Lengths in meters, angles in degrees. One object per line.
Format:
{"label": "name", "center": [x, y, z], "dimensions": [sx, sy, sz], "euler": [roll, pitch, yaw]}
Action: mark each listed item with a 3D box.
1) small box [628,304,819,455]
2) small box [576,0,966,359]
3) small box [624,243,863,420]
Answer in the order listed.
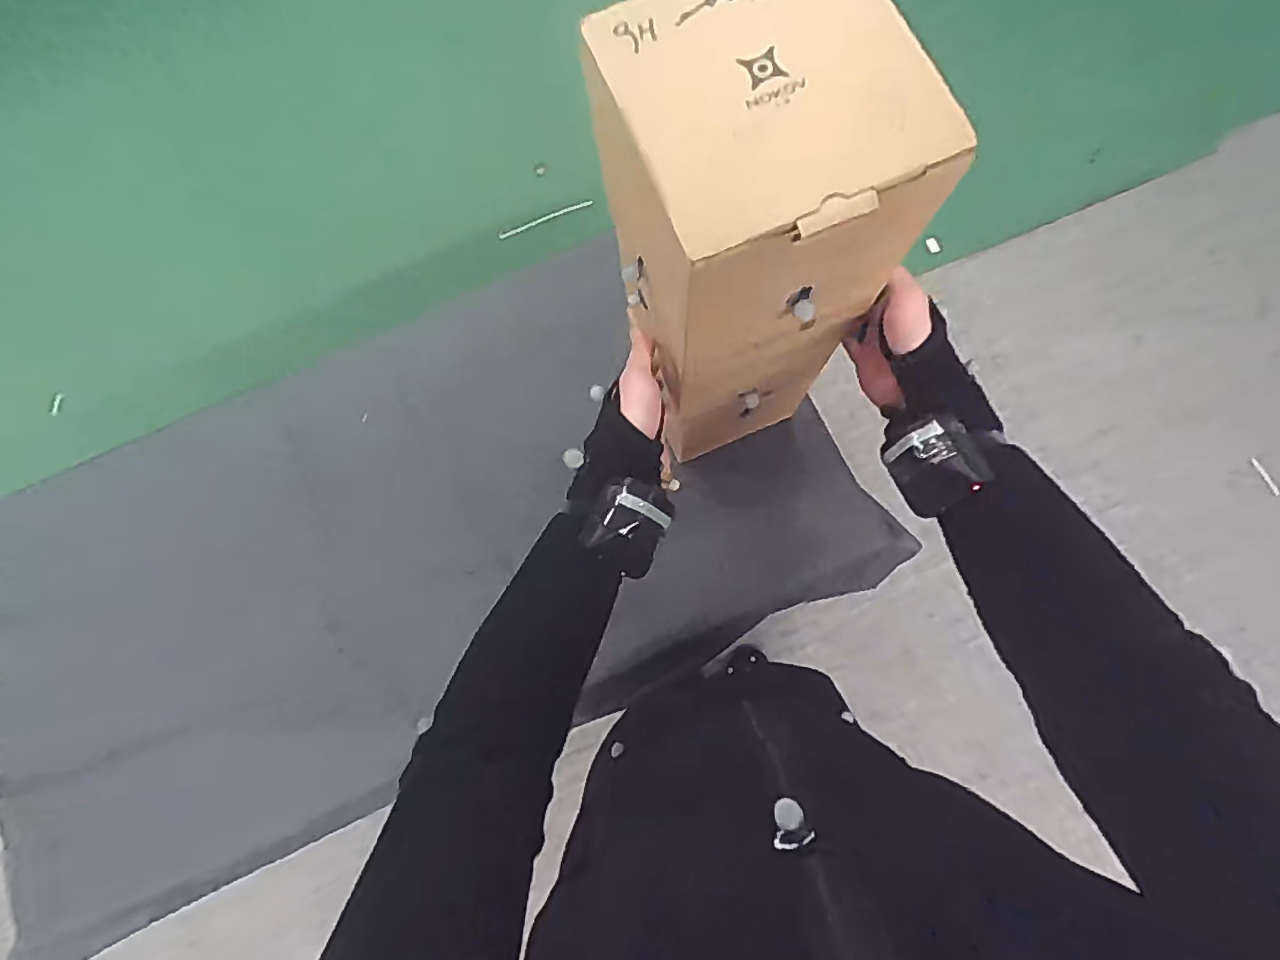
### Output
{"label": "small box", "center": [0.100, -0.149, 0.699], "dimensions": [0.179, 0.176, 0.168], "euler": [-23, 78, -2]}
{"label": "small box", "center": [0.073, -0.204, 0.377], "dimensions": [0.168, 0.176, 0.179], "euler": [-22, 79, 0]}
{"label": "small box", "center": [0.085, -0.182, 0.539], "dimensions": [0.168, 0.176, 0.179], "euler": [-20, 80, 0]}
